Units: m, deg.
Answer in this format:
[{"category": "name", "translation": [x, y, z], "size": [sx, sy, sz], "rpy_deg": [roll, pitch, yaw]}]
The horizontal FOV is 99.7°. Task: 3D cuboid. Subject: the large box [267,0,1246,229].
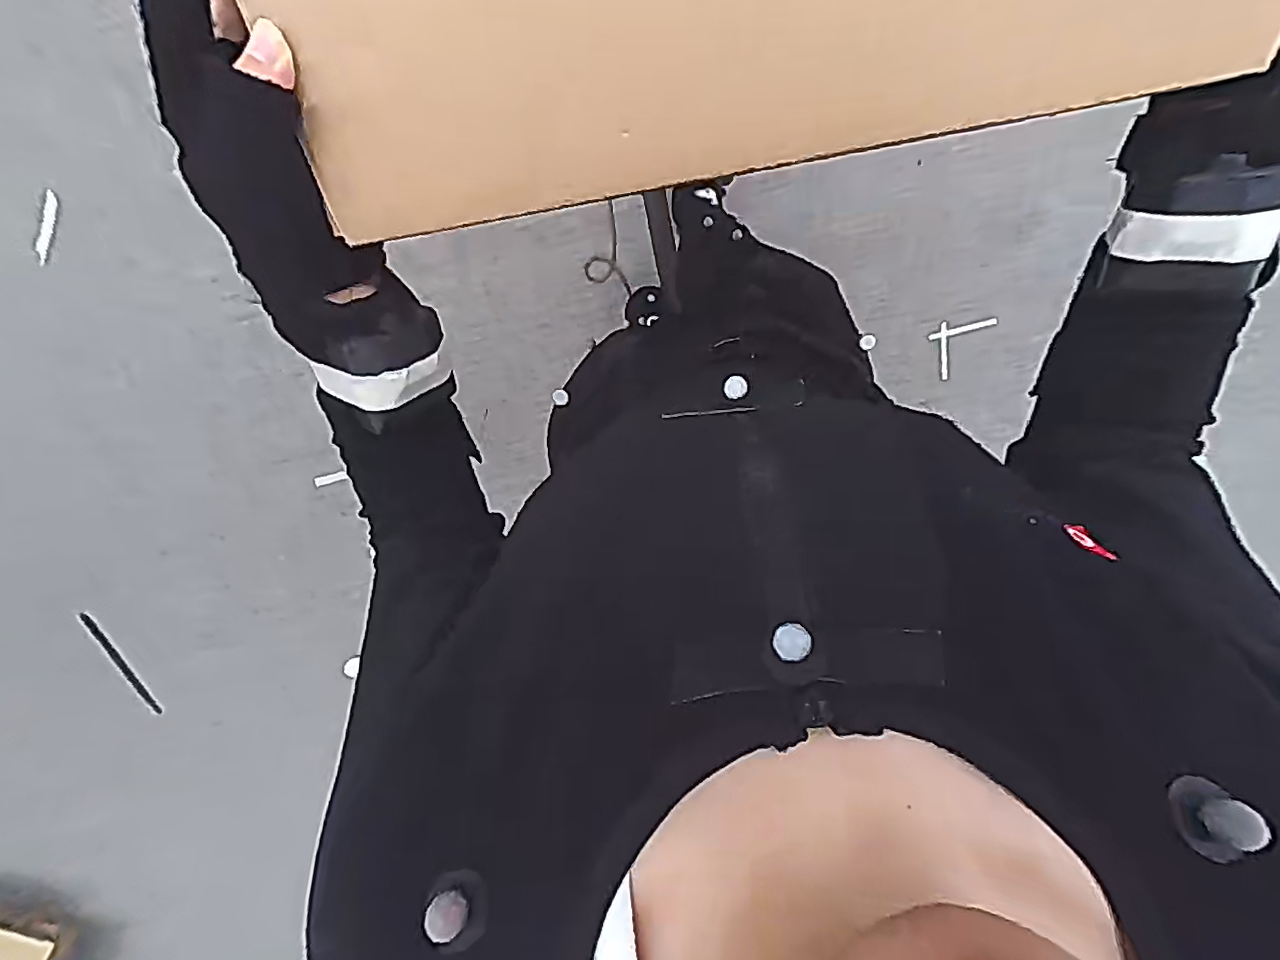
[{"category": "large box", "translation": [0.029, -0.359, 0.296], "size": [0.408, 0.320, 0.320], "rpy_deg": [-9, 123, 5]}]
